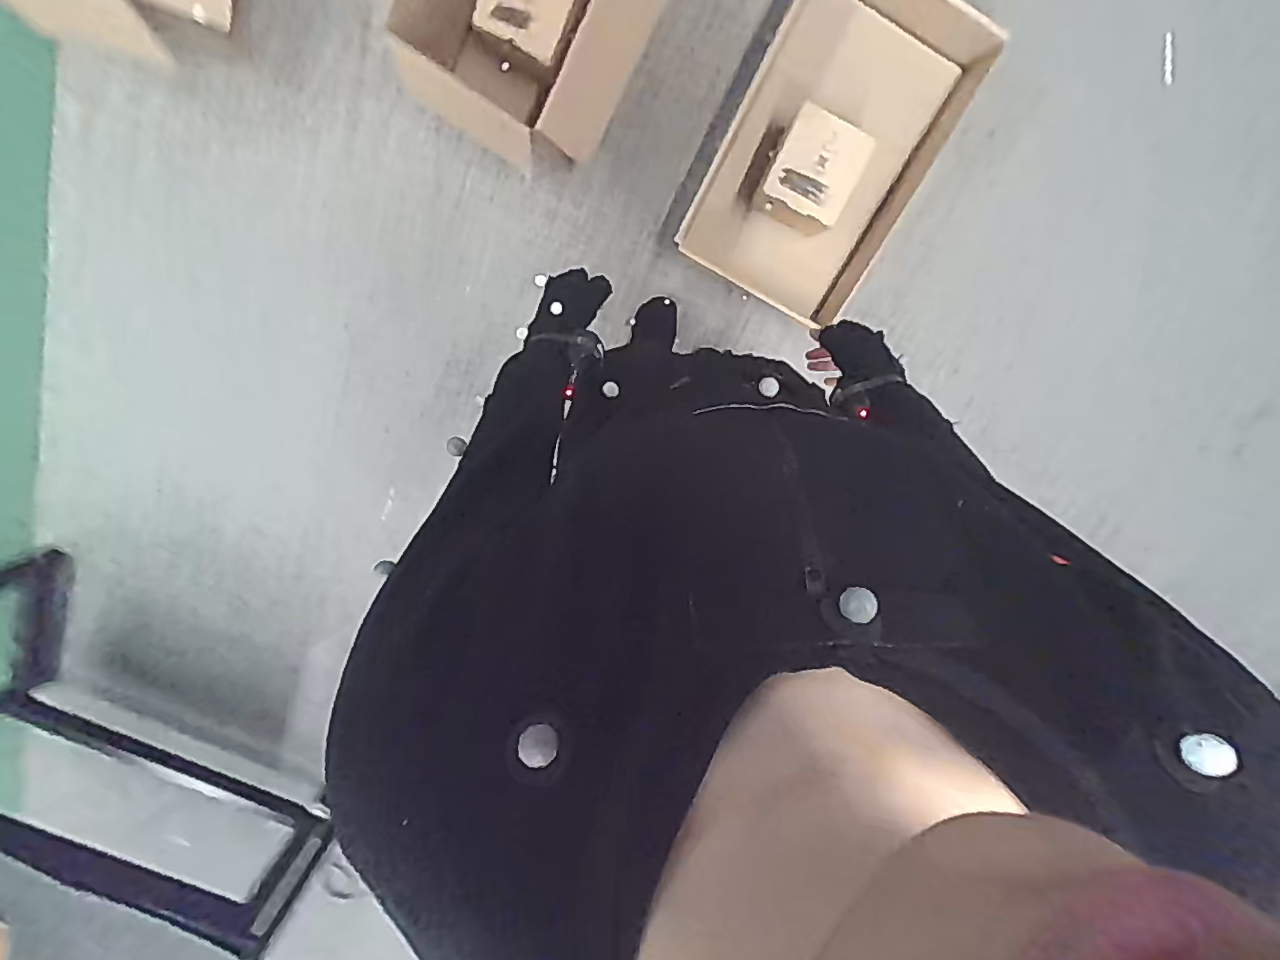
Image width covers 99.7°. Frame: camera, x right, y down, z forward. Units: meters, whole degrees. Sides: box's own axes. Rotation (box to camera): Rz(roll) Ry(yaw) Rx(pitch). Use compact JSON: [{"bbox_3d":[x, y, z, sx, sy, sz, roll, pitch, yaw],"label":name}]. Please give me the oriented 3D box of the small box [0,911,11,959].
[{"bbox_3d":[-1.421,0.966,1.069,0.168,0.176,0.179,27,107,-5],"label":"small box"}]
